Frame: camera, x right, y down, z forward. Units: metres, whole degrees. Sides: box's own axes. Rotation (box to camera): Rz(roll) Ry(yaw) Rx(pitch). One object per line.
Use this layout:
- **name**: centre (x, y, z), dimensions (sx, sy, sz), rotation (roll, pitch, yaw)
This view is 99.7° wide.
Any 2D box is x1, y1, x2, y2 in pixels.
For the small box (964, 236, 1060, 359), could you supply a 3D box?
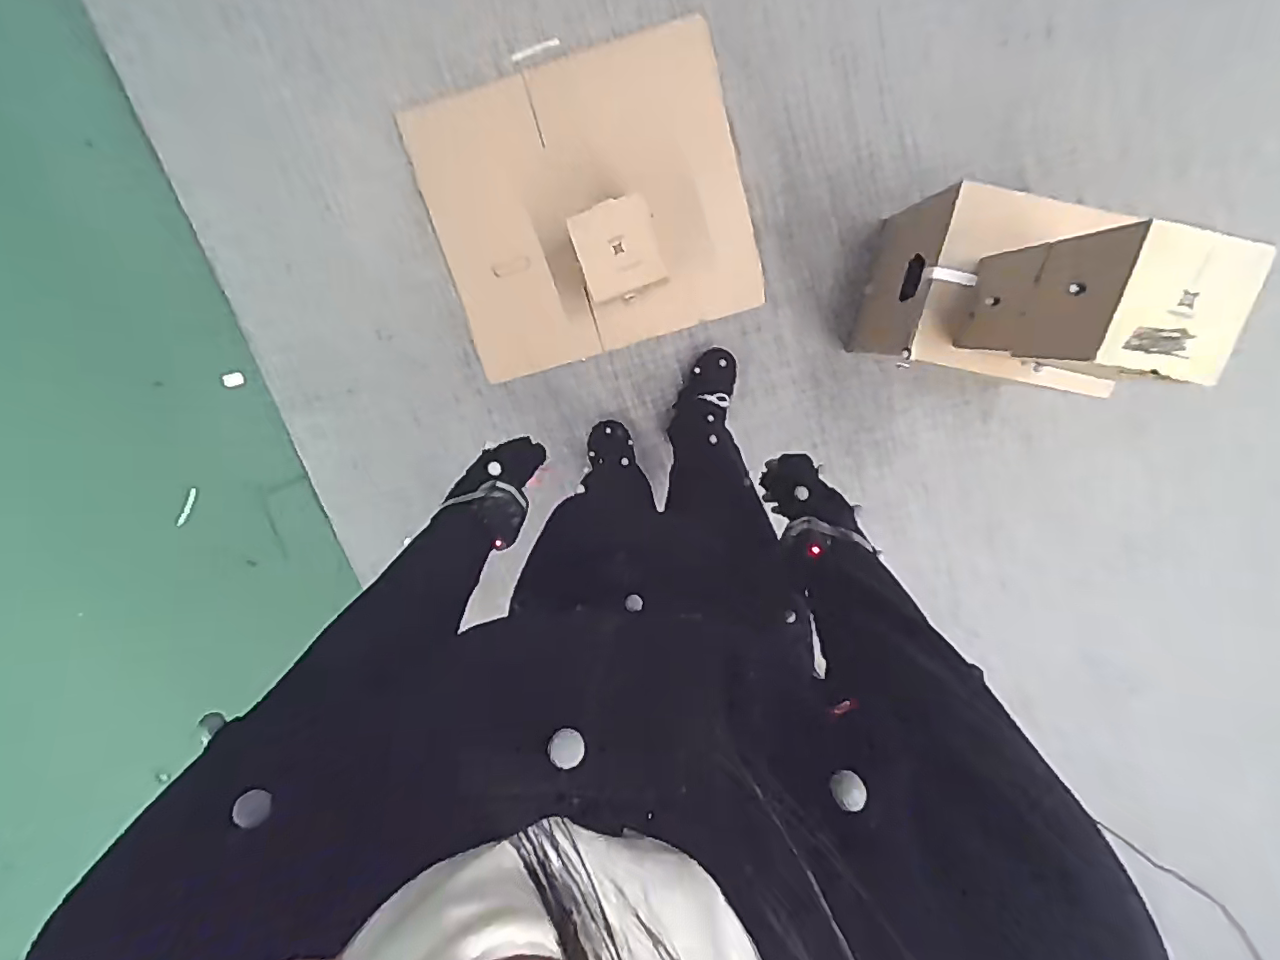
- **small box**: centre (0.684, -0.295, 0.905), dimensions (0.179, 0.176, 0.168), rotation (7, 103, -1)

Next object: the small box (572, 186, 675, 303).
- **small box**: centre (-0.029, -0.496, 1.167), dimensions (0.168, 0.176, 0.179), rotation (-18, 104, 10)

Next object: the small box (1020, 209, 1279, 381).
- **small box**: centre (0.674, -0.244, 0.745), dimensions (0.168, 0.176, 0.179), rotation (12, 104, -2)
